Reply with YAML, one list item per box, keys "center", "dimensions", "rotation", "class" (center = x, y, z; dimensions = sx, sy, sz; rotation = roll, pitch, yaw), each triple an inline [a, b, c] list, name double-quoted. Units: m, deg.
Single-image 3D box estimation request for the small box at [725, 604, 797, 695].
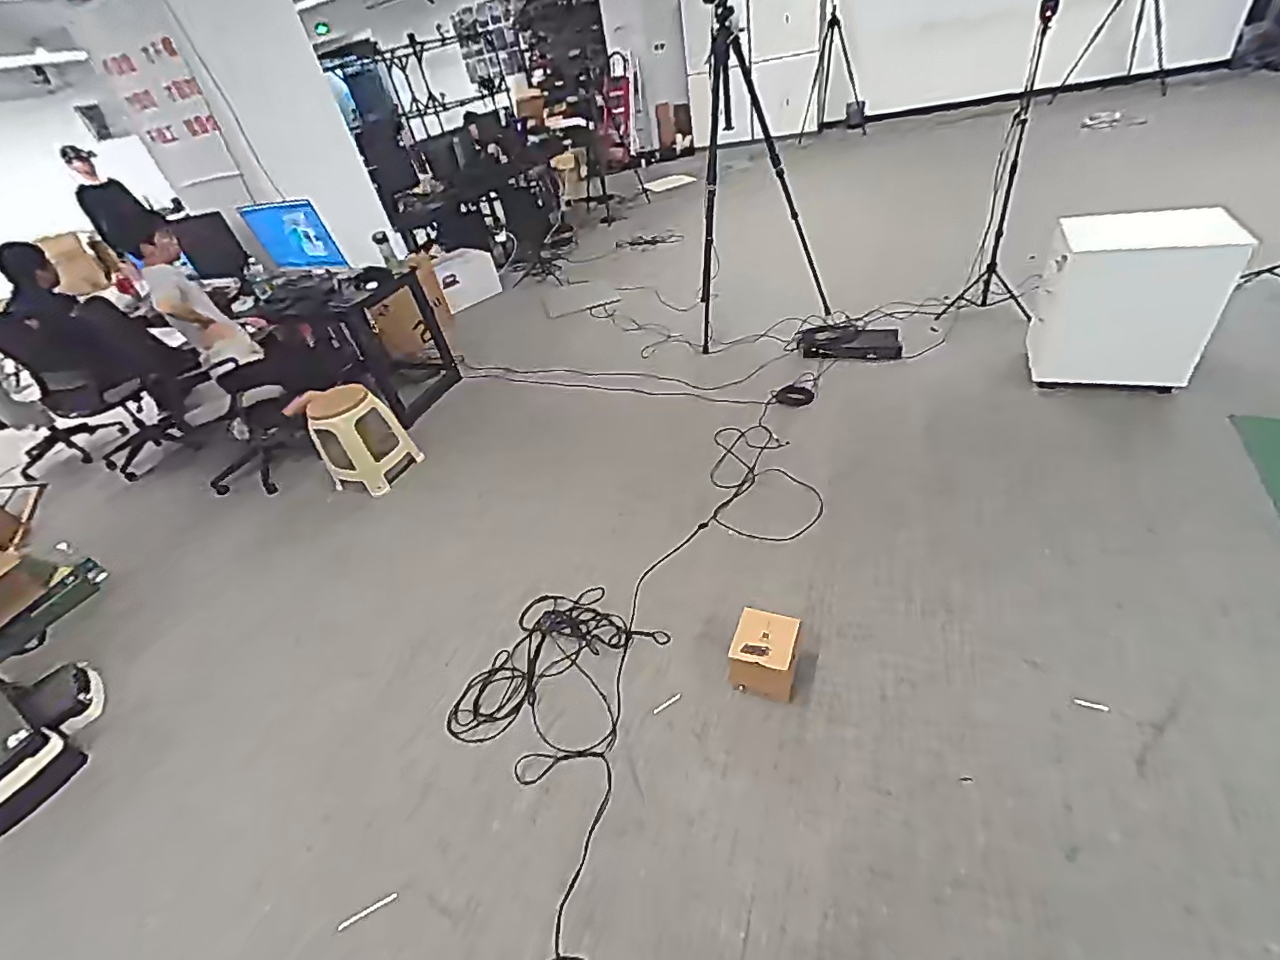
- center: [0.359, 0.495, 1.574]
  dimensions: [0.168, 0.176, 0.179]
  rotation: [8, 43, 25]
  class: "small box"
